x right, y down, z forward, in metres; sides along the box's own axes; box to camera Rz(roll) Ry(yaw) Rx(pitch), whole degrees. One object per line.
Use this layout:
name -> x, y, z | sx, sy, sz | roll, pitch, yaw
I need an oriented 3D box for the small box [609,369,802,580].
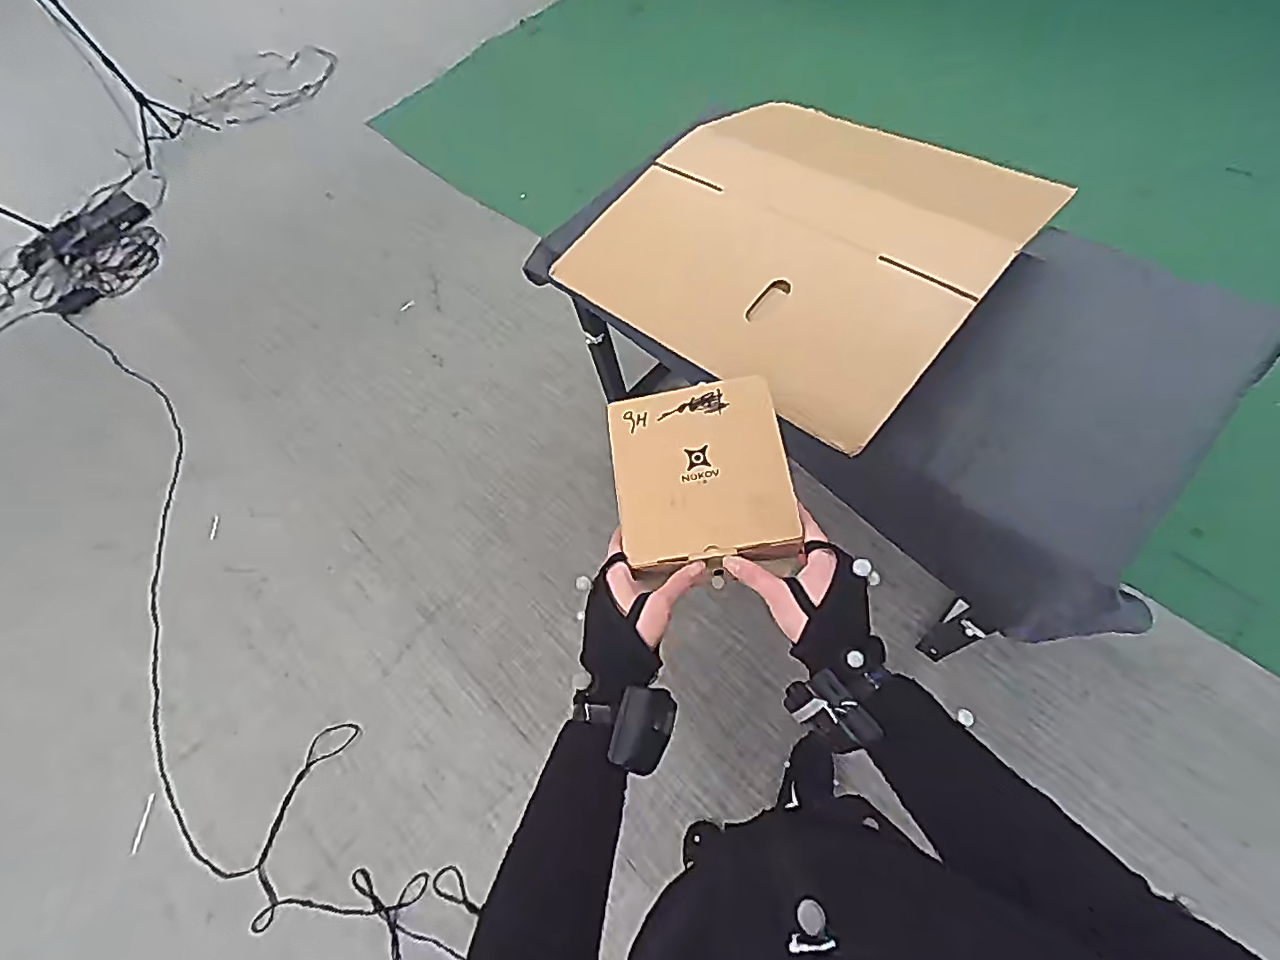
small box -> 0.075, 0.008, 0.602 | 0.168, 0.176, 0.179 | -12, 68, 7
